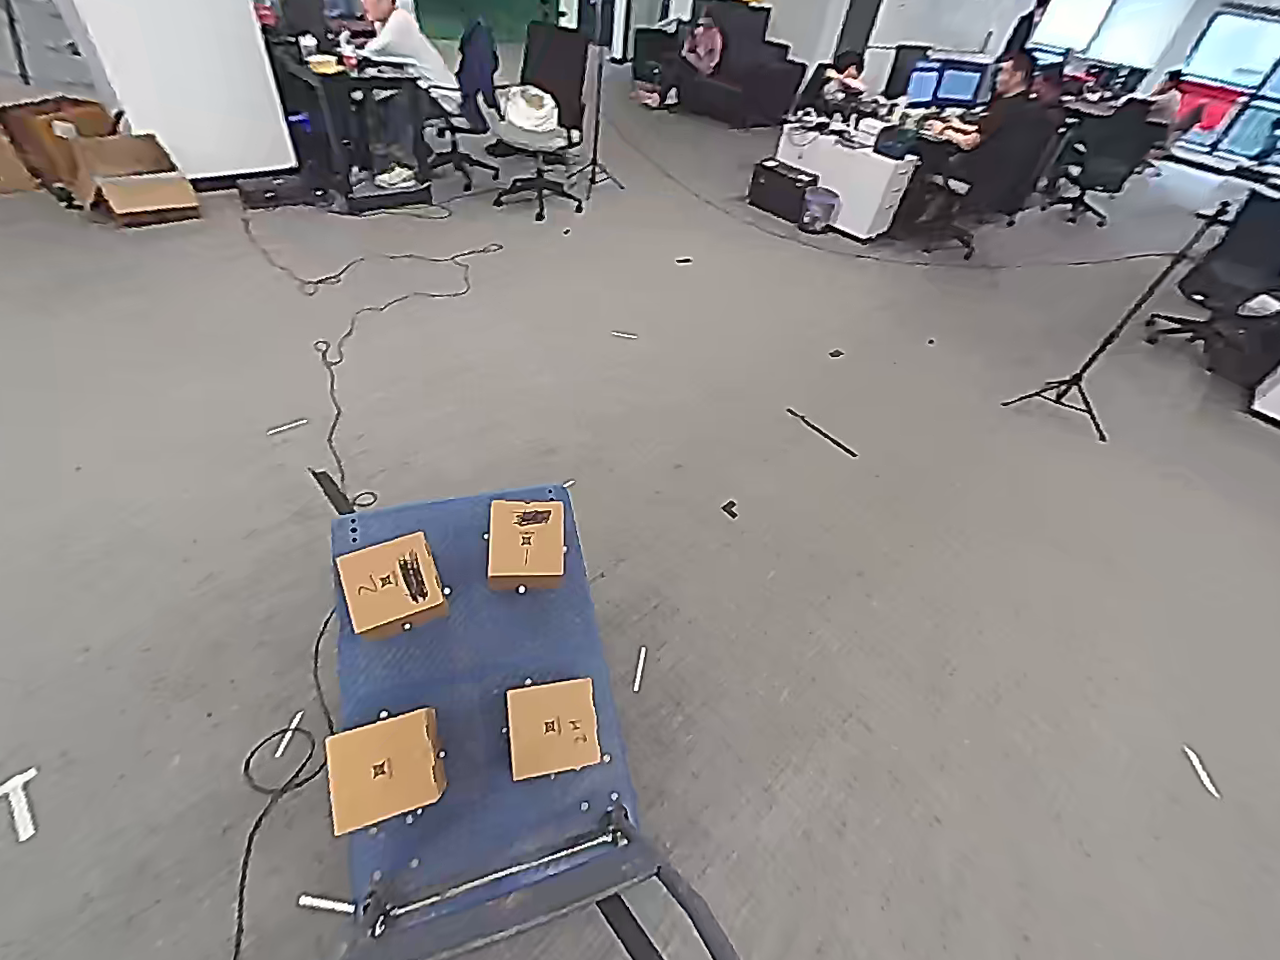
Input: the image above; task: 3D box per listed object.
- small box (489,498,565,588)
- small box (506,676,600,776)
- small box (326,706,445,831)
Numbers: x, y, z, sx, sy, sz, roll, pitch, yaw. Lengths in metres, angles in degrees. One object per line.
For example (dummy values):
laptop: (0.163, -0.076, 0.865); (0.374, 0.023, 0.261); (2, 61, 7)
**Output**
small box: (-0.270, 0.155, 1.287); (0.168, 0.176, 0.179); (2, 68, -14)
small box: (-0.191, 0.520, 1.155); (0.179, 0.176, 0.168); (-3, 69, -16)
small box: (-0.493, 0.556, 1.062); (0.179, 0.176, 0.168); (-10, 71, -20)
